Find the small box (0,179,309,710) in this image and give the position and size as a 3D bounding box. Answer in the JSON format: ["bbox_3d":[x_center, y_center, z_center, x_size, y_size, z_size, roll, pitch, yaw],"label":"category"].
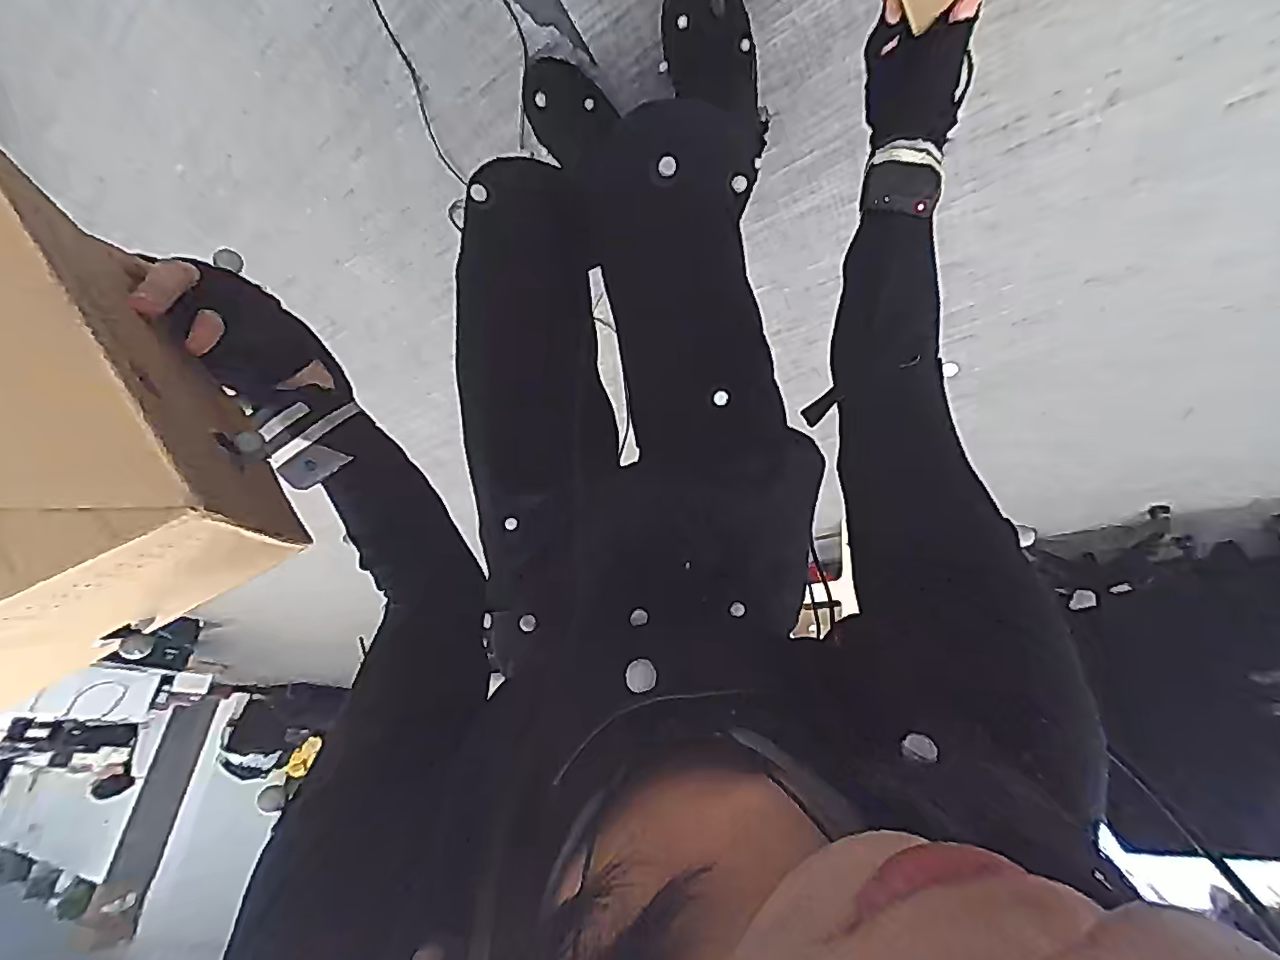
[{"bbox_3d":[-0.282,-0.003,0.218,0.179,0.168,0.176,-31,179,-22],"label":"small box"}]
